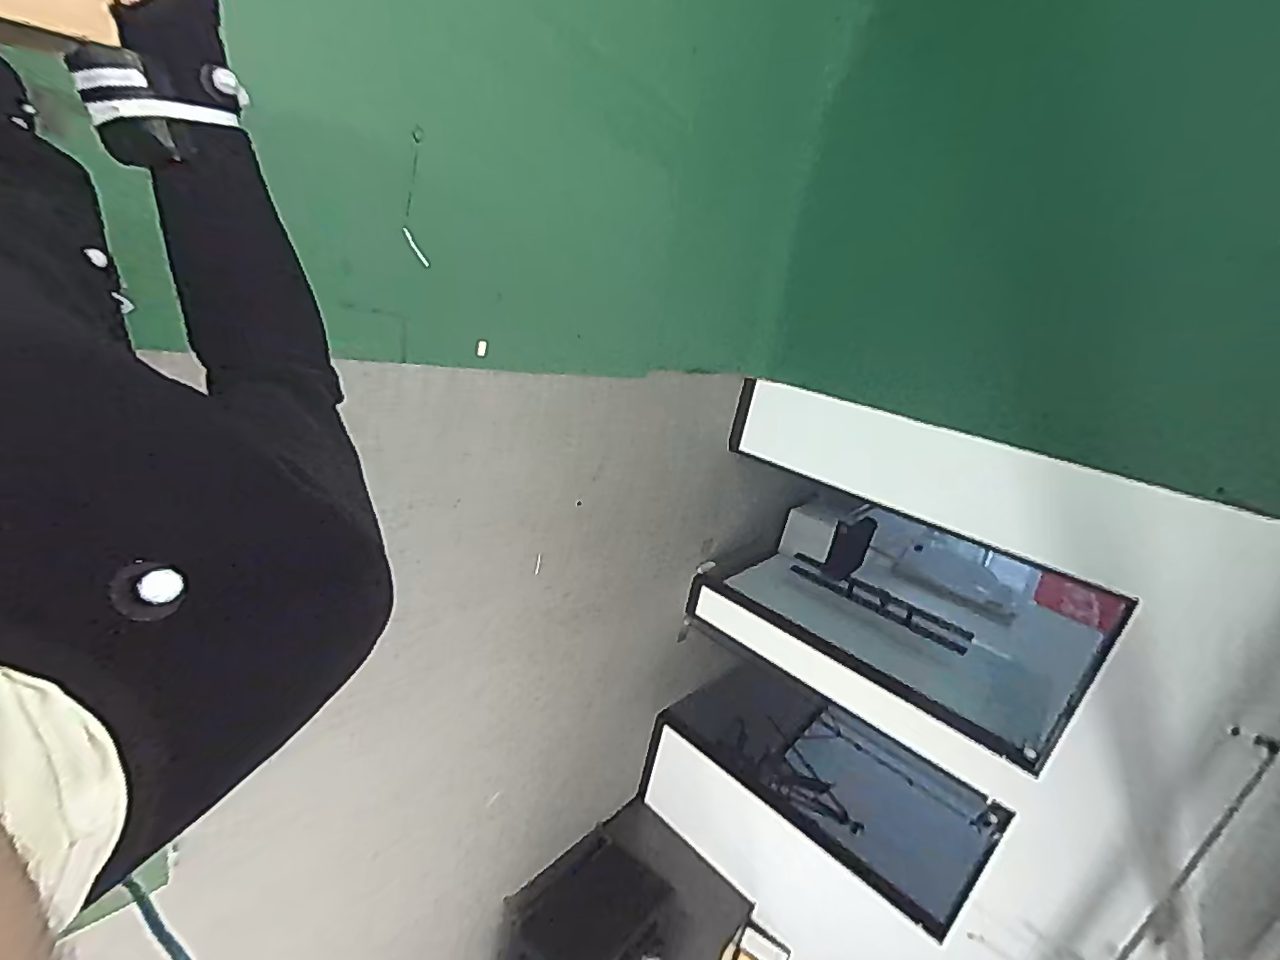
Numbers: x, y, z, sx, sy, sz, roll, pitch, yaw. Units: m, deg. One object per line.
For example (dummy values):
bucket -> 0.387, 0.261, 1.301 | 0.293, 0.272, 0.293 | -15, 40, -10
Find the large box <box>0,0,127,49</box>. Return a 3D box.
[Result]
large box -> -0.562, -0.448, 0.240 | 0.408, 0.320, 0.320 | -19, 129, -47
